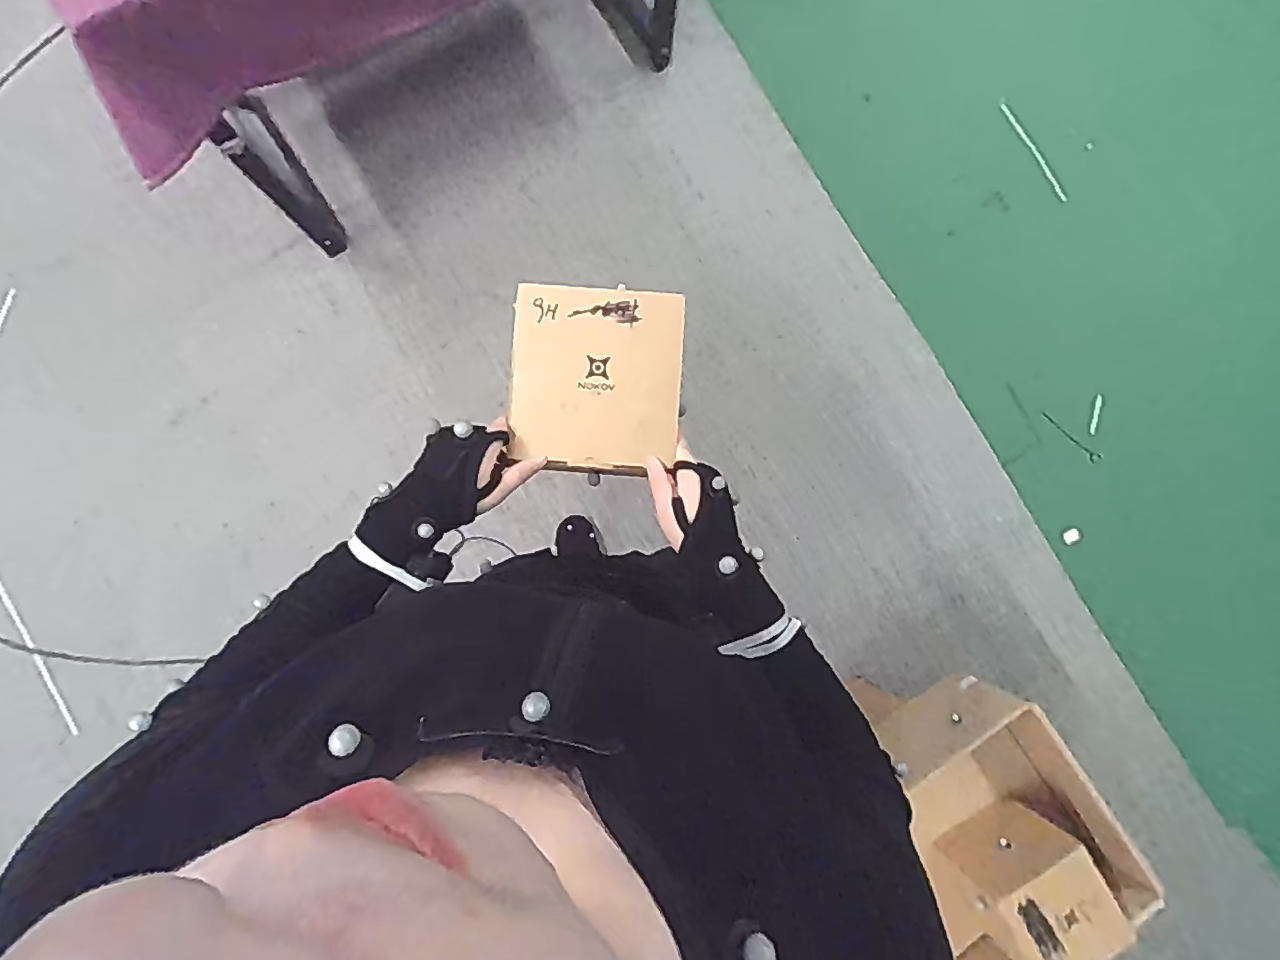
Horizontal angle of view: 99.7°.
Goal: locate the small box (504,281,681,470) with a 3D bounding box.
[{"bbox_3d":[-0.048,-0.102,0.606,0.168,0.176,0.179,3,90,-2],"label":"small box"}]
